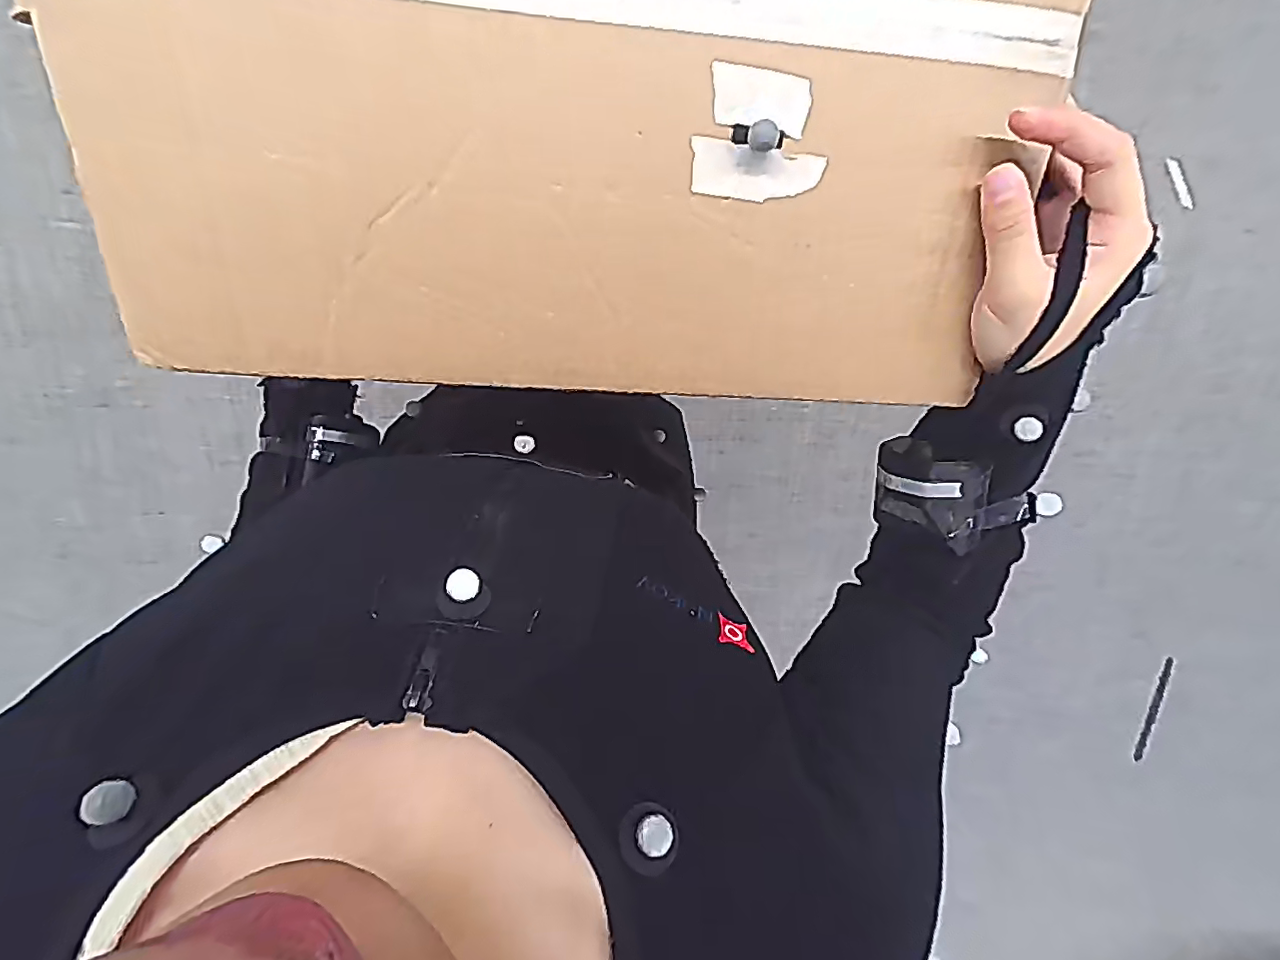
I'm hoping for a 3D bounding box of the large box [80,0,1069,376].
[{"bbox_3d":[-0.028,-0.255,0.355,0.408,0.320,0.320,1,112,-8],"label":"large box"}]
